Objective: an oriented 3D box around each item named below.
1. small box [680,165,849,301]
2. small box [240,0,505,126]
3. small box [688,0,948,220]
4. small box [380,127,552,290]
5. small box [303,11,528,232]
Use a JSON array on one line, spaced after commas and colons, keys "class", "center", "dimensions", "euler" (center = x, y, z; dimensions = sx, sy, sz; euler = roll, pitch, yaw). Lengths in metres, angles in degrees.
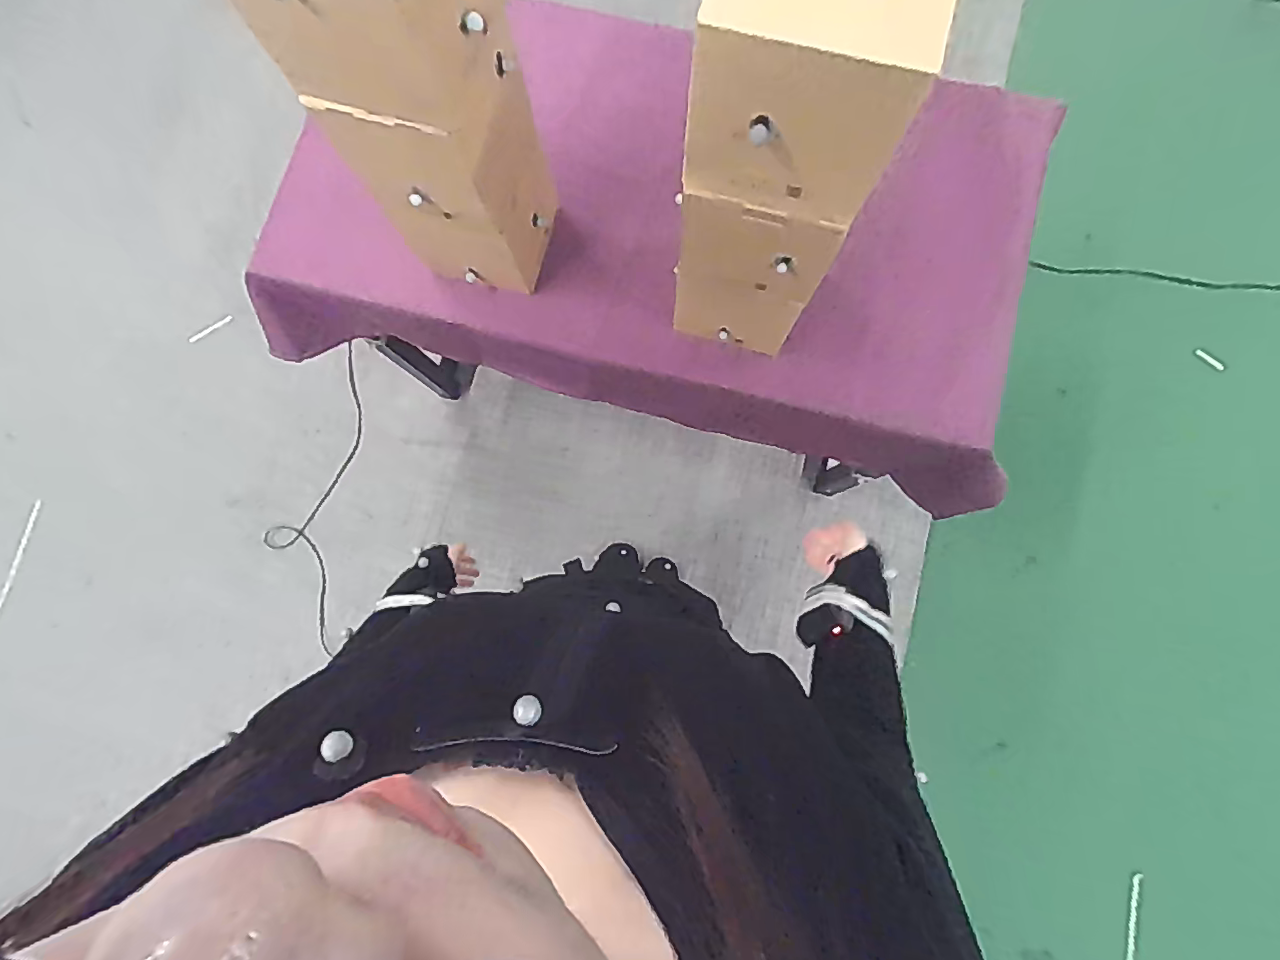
[{"class": "small box", "center": [0.145, -0.330, 0.613], "dimensions": [0.168, 0.176, 0.179], "euler": [15, 82, 3]}, {"class": "small box", "center": [-0.242, -0.456, 0.474], "dimensions": [0.179, 0.176, 0.168], "euler": [16, 82, 3]}, {"class": "small box", "center": [0.139, -0.354, 0.452], "dimensions": [0.168, 0.176, 0.179], "euler": [15, 82, 3]}, {"class": "small box", "center": [-0.240, -0.404, 0.800], "dimensions": [0.179, 0.176, 0.168], "euler": [13, 82, 3]}, {"class": "small box", "center": [-0.243, -0.432, 0.637], "dimensions": [0.168, 0.176, 0.179], "euler": [14, 83, 4]}]
